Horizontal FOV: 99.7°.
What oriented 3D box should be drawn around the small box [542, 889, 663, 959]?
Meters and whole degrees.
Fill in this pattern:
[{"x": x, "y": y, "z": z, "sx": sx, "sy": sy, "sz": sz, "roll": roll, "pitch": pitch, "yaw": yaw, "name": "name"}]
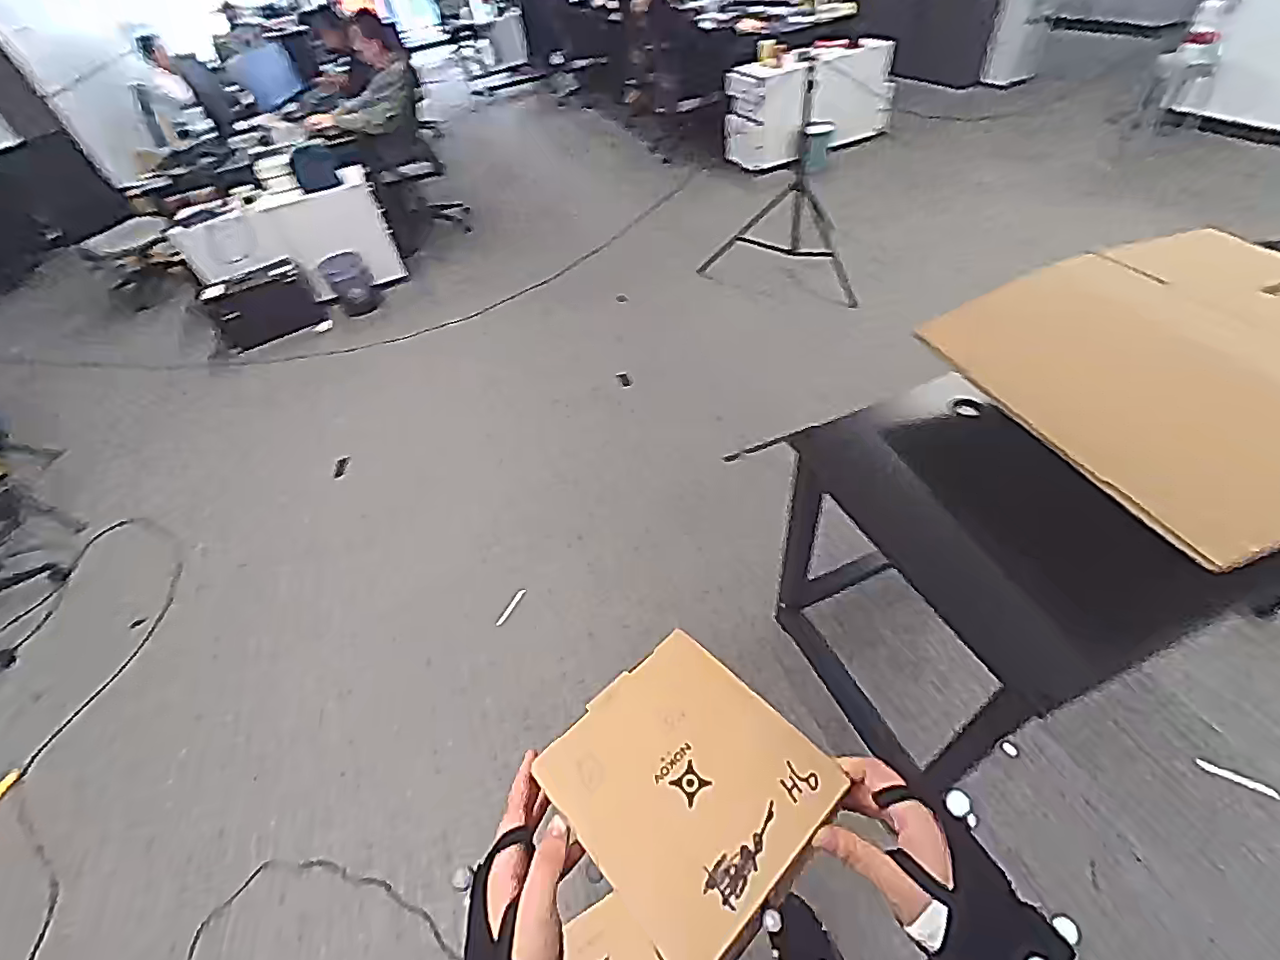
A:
[{"x": -0.047, "y": 0.862, "z": 0.941, "sx": 0.168, "sy": 0.176, "sz": 0.179, "roll": -26, "pitch": 47, "yaw": -16, "name": "small box"}]
